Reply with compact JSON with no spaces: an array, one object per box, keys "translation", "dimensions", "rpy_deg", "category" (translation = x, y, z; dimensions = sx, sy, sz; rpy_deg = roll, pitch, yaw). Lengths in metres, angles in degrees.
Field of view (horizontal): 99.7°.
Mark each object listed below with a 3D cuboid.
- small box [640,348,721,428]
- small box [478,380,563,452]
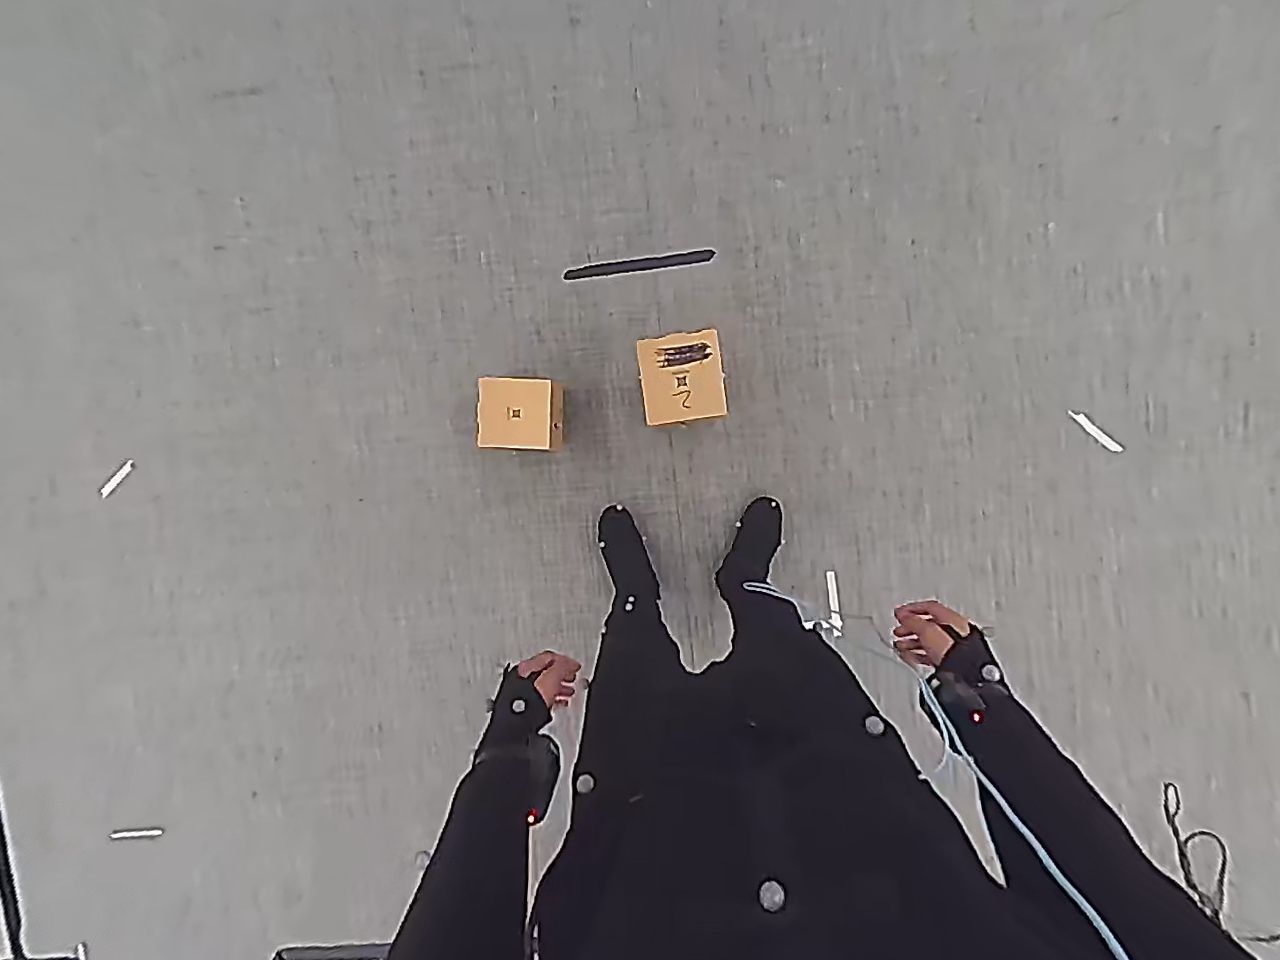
[{"translation":[0.099,-0.220,1.334],"dimensions":[0.179,0.176,0.168],"rpy_deg":[-7,94,2],"category":"small box"},{"translation":[-0.292,-0.159,1.356],"dimensions":[0.179,0.176,0.168],"rpy_deg":[2,94,3],"category":"small box"}]
